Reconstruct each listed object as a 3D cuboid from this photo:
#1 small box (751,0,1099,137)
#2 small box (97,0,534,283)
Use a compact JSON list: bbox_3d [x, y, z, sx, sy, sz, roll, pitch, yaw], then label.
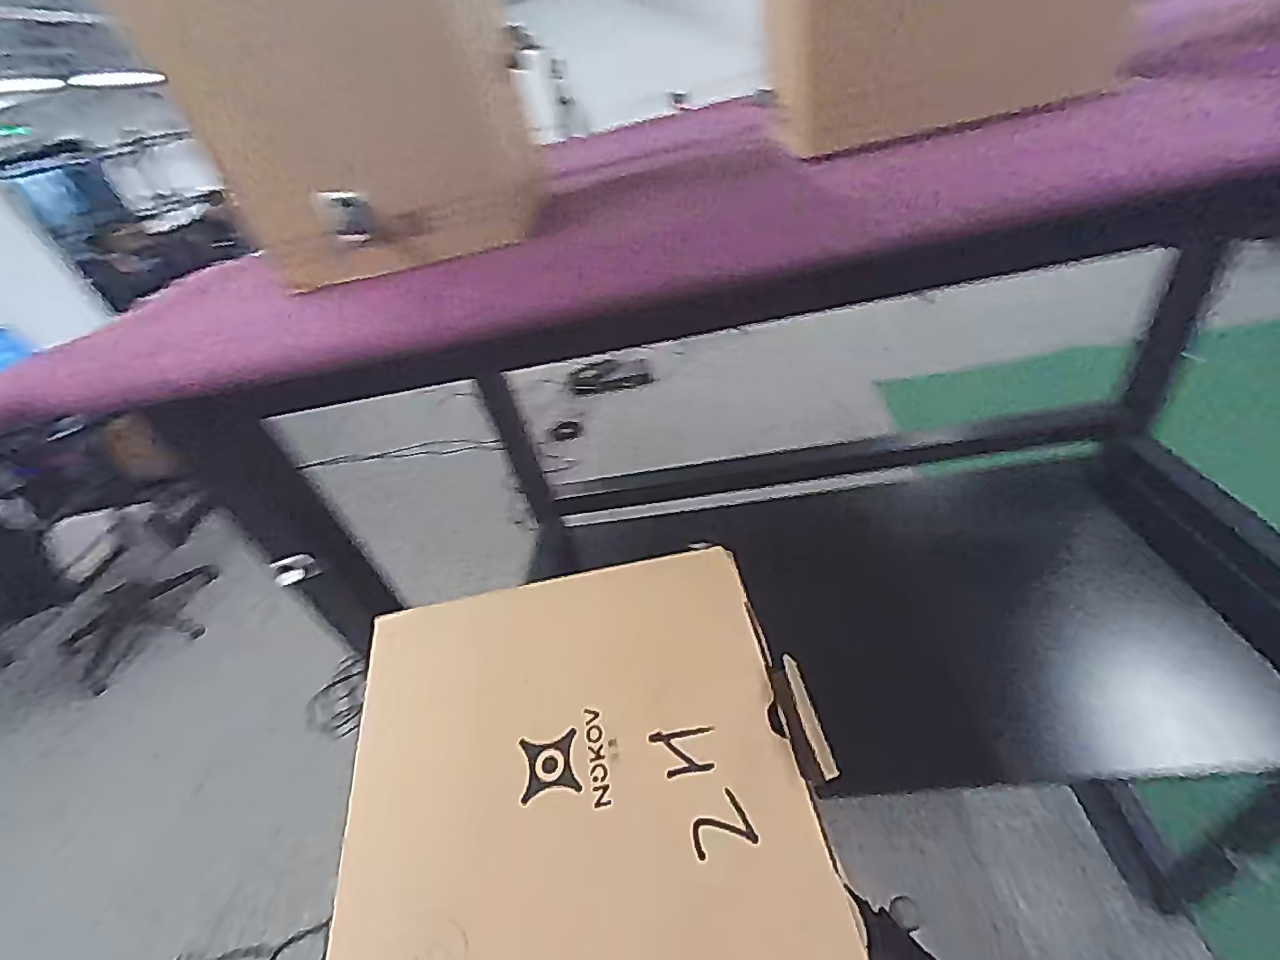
[{"bbox_3d":[0.162,-0.329,0.333,0.179,0.176,0.168,-8,37,9],"label":"small box"},{"bbox_3d":[-0.179,-0.251,0.356,0.168,0.176,0.179,-12,39,6],"label":"small box"}]
